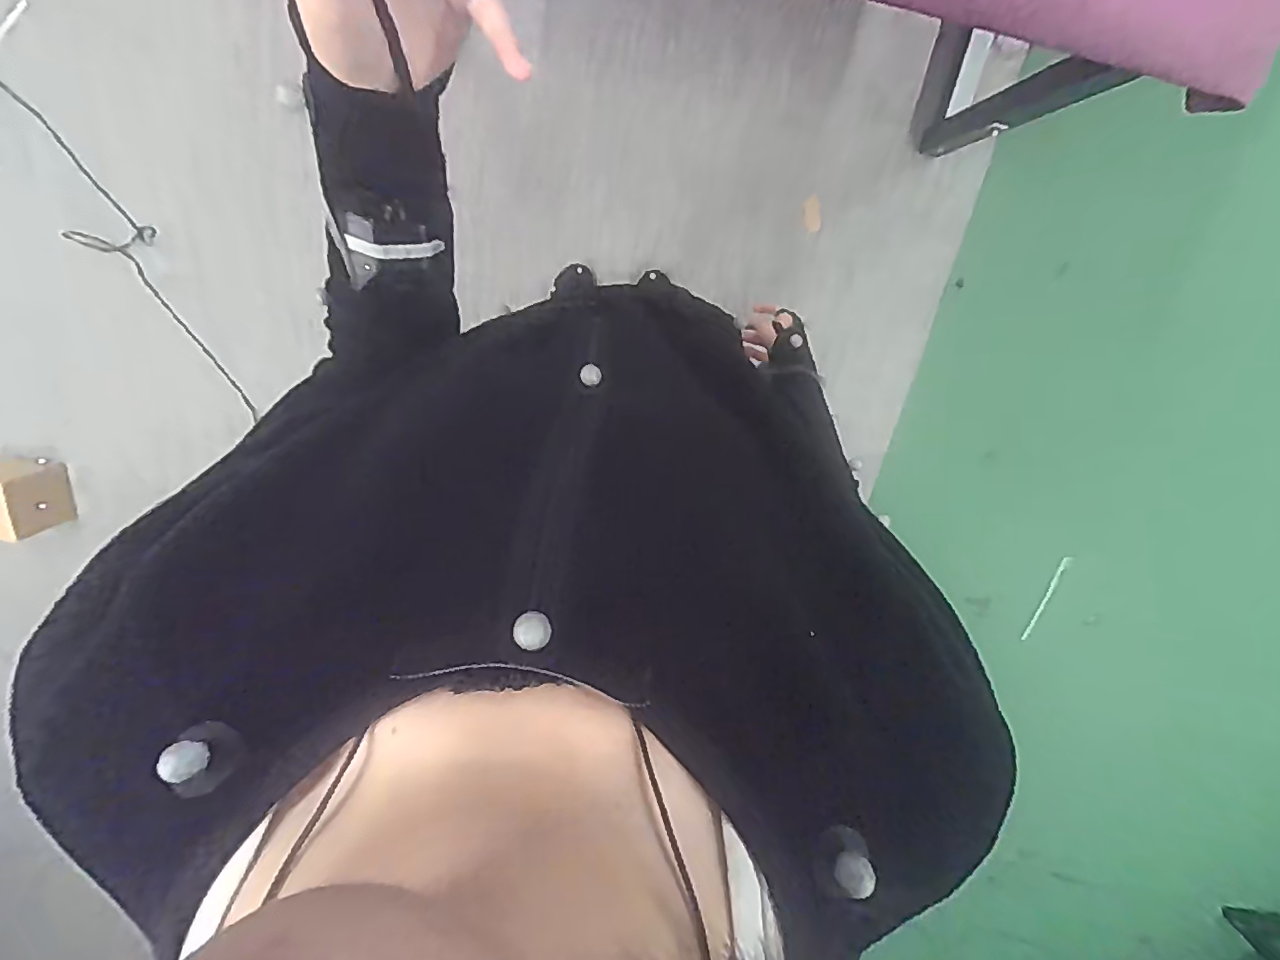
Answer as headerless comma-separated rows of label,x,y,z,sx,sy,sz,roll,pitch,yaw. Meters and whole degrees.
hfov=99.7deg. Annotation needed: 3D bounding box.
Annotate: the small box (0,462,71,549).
small box,-1.723,0.064,1.468,0.168,0.176,0.179,9,111,-3
